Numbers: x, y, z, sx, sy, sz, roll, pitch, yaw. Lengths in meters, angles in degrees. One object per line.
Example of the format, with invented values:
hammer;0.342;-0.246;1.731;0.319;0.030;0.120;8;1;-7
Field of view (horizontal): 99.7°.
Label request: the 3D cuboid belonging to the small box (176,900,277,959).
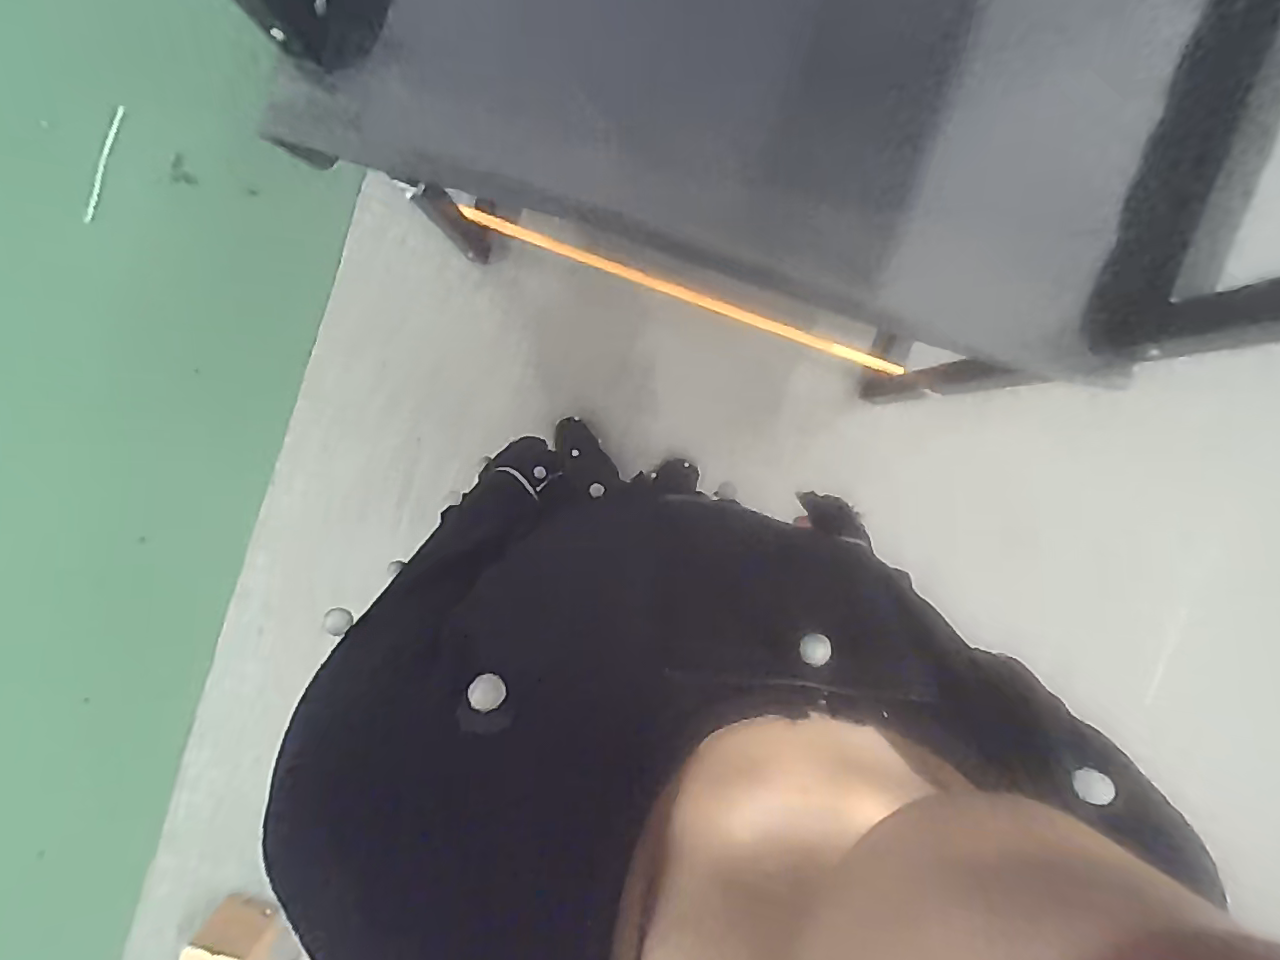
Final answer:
small box;-1.143;1.314;1.484;0.168;0.176;0.179;19;94;-1
